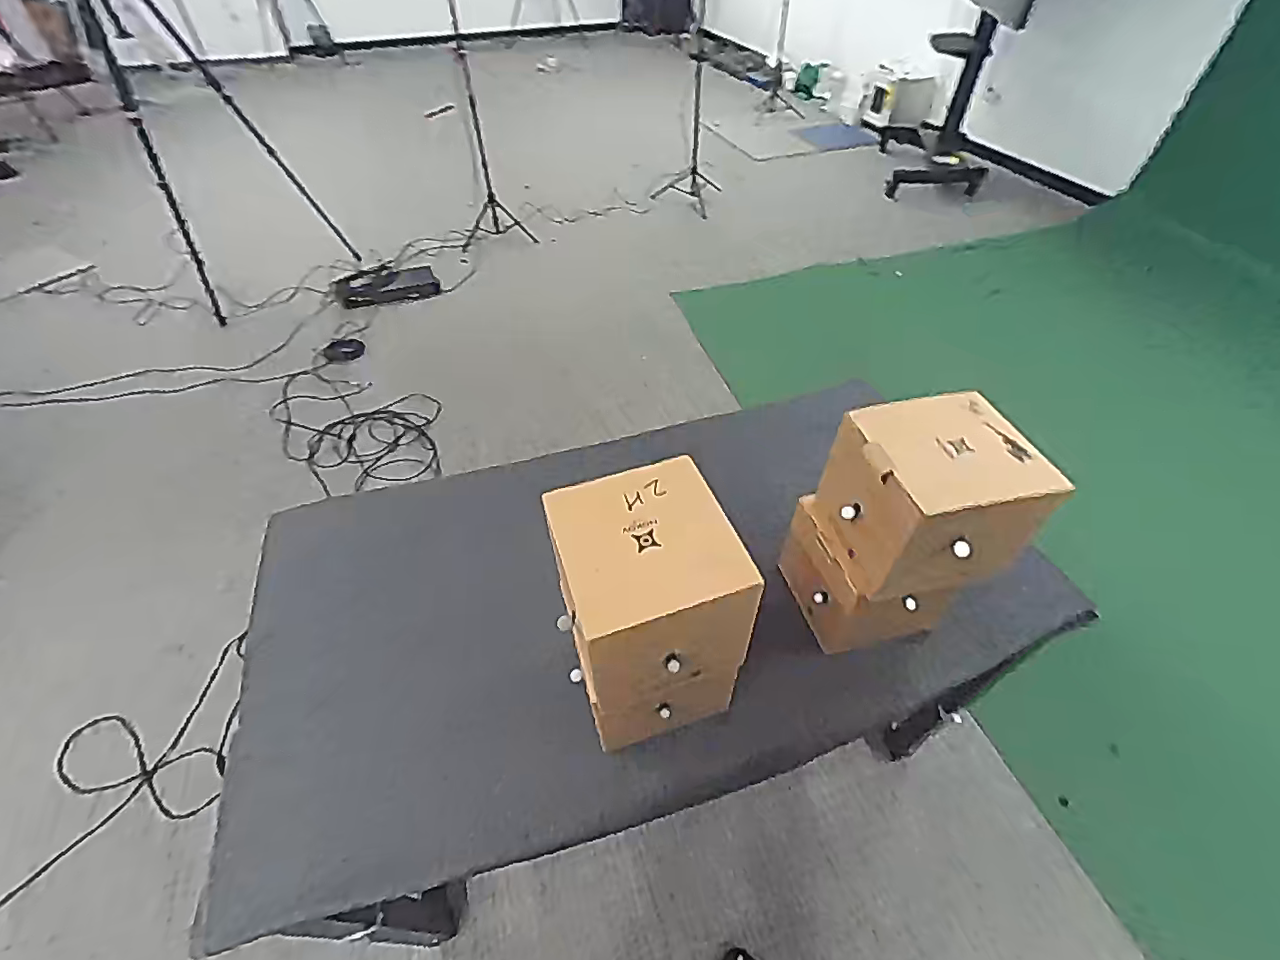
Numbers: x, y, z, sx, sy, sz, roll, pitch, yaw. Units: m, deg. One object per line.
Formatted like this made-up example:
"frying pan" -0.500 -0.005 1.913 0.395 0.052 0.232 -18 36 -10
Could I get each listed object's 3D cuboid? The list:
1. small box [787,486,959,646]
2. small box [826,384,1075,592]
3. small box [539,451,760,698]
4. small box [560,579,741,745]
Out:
"small box" 0.324 0.114 0.769 0.179 0.176 0.168 -11 49 -10
"small box" 0.338 0.013 0.639 0.179 0.176 0.168 -10 48 -7
"small box" 0.005 0.103 0.561 0.168 0.176 0.179 -15 48 -12
"small box" 0.009 0.208 0.688 0.179 0.176 0.168 -15 48 -10
